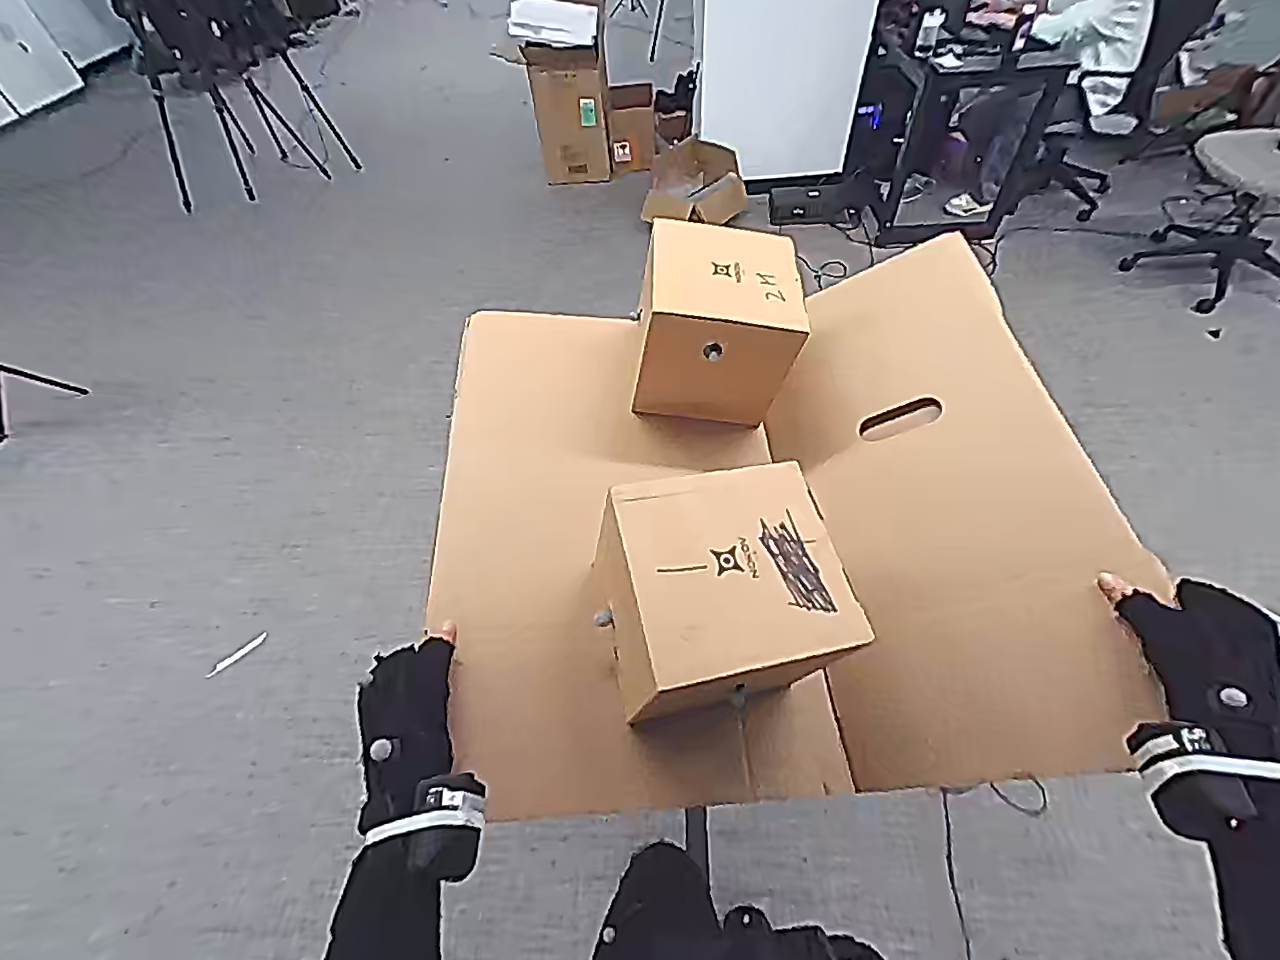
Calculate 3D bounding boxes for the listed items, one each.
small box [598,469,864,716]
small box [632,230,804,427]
[{"bbox_3d":[0.064,0.109,0.506,0.179,0.176,0.168,-8,61,-13],"label":"small box"},{"bbox_3d":[0.086,-0.186,0.691,0.179,0.176,0.168,7,58,-6],"label":"small box"}]
